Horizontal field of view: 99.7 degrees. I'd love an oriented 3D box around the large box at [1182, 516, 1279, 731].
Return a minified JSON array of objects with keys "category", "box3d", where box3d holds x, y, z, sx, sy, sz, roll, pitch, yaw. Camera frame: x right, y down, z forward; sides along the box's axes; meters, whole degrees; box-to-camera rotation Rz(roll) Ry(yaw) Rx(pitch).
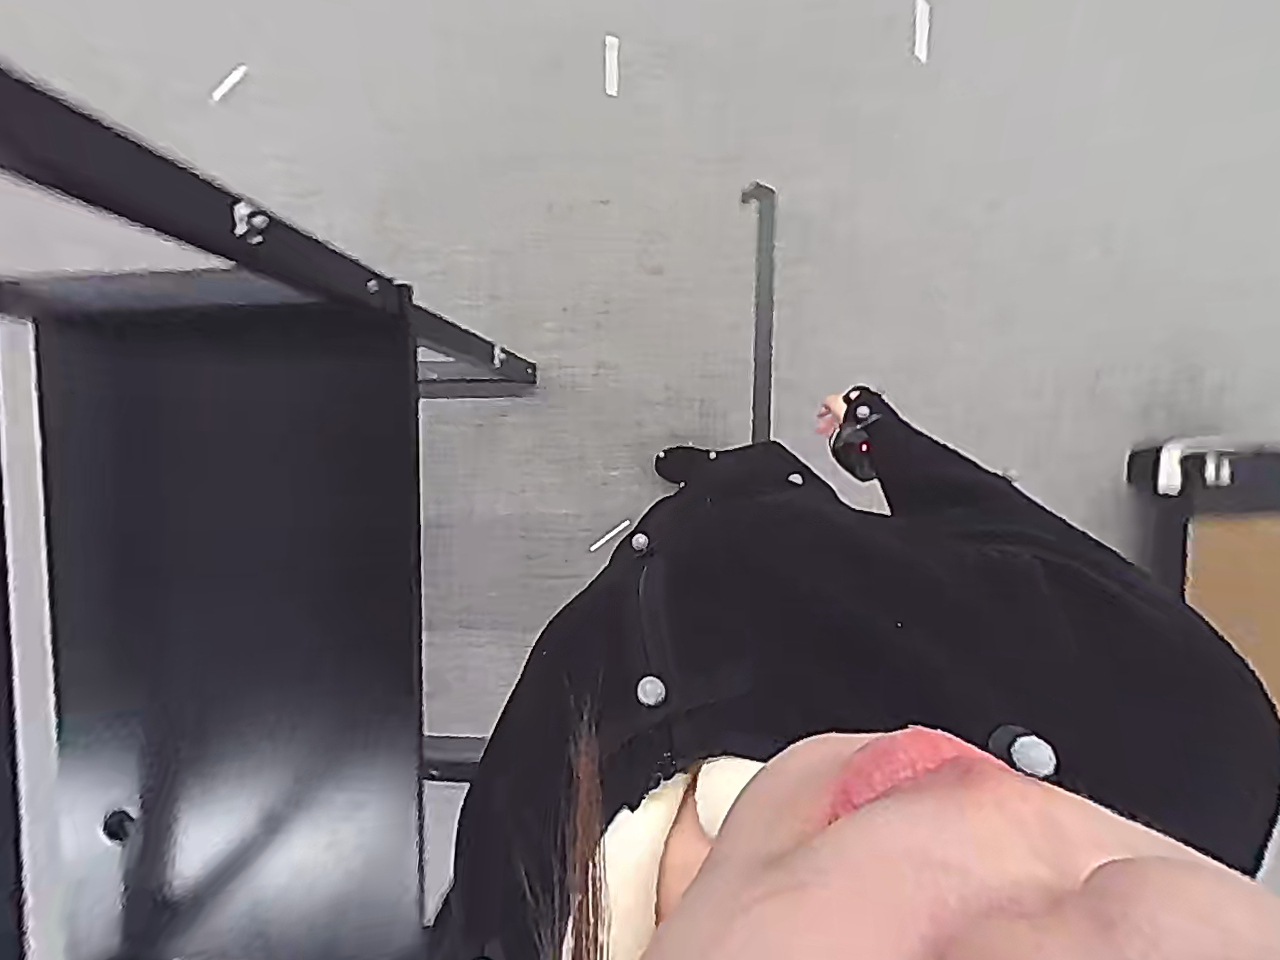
[{"category":"large box","box3d":[1.387,0.285,1.082,0.320,0.320,0.408,-2,92,4]}]
